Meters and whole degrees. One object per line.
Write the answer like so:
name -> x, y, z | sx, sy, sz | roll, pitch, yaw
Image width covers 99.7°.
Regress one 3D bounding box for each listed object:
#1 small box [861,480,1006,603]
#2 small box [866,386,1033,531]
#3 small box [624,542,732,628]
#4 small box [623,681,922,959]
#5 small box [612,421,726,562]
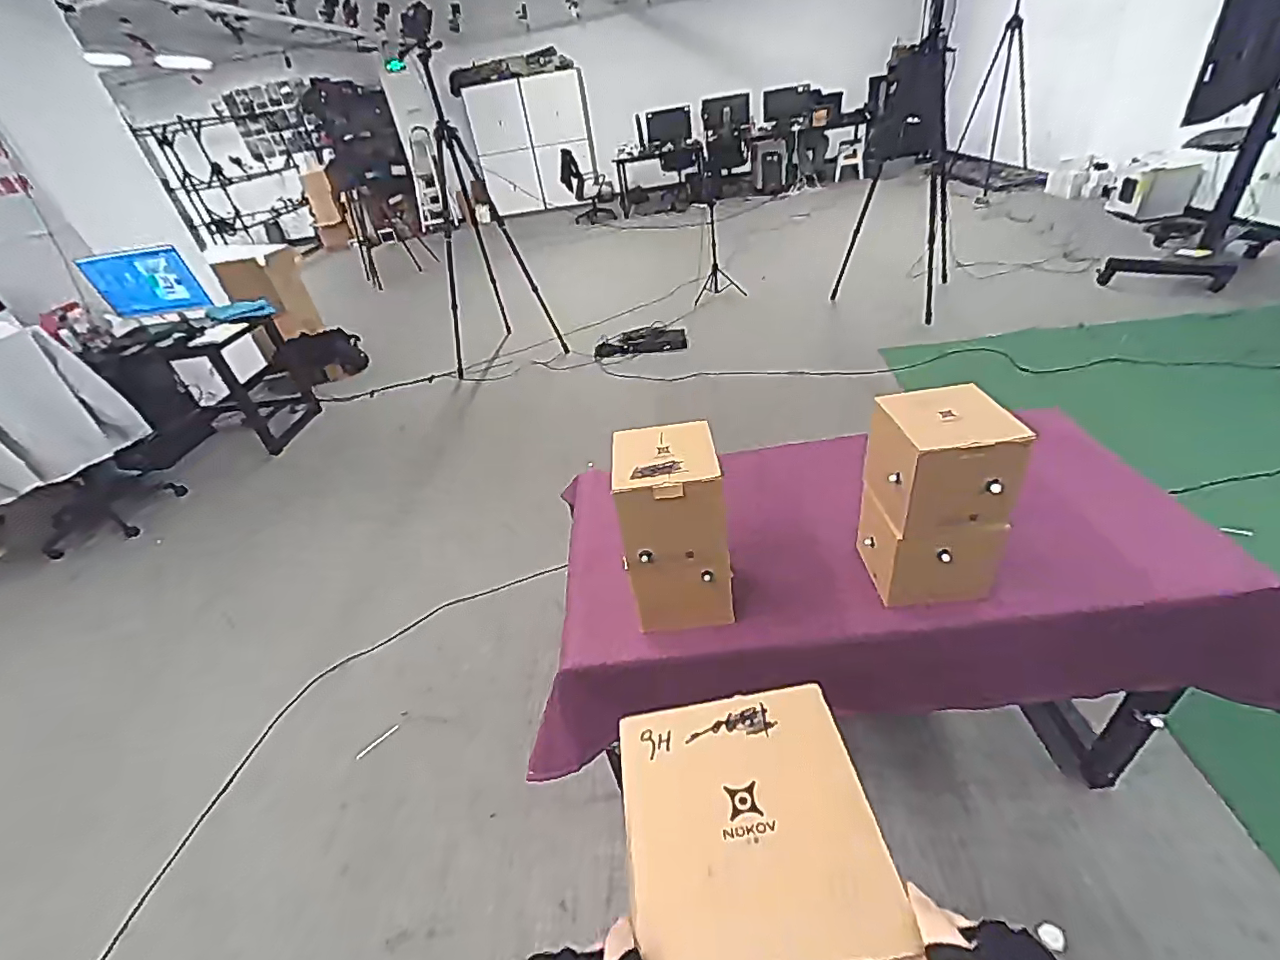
small box -> 0.506, 0.104, 0.966 | 0.179, 0.176, 0.168 | -6, 36, 5
small box -> 0.483, -0.031, 0.875 | 0.168, 0.176, 0.179 | -7, 35, 3
small box -> 0.070, 0.157, 1.001 | 0.179, 0.176, 0.168 | -7, 36, 3
small box -> 0.086, 0.290, 0.417 | 0.168, 0.176, 0.179 | -10, 36, 1
small box -> 0.049, 0.024, 0.907 | 0.168, 0.176, 0.179 | -7, 34, 3
